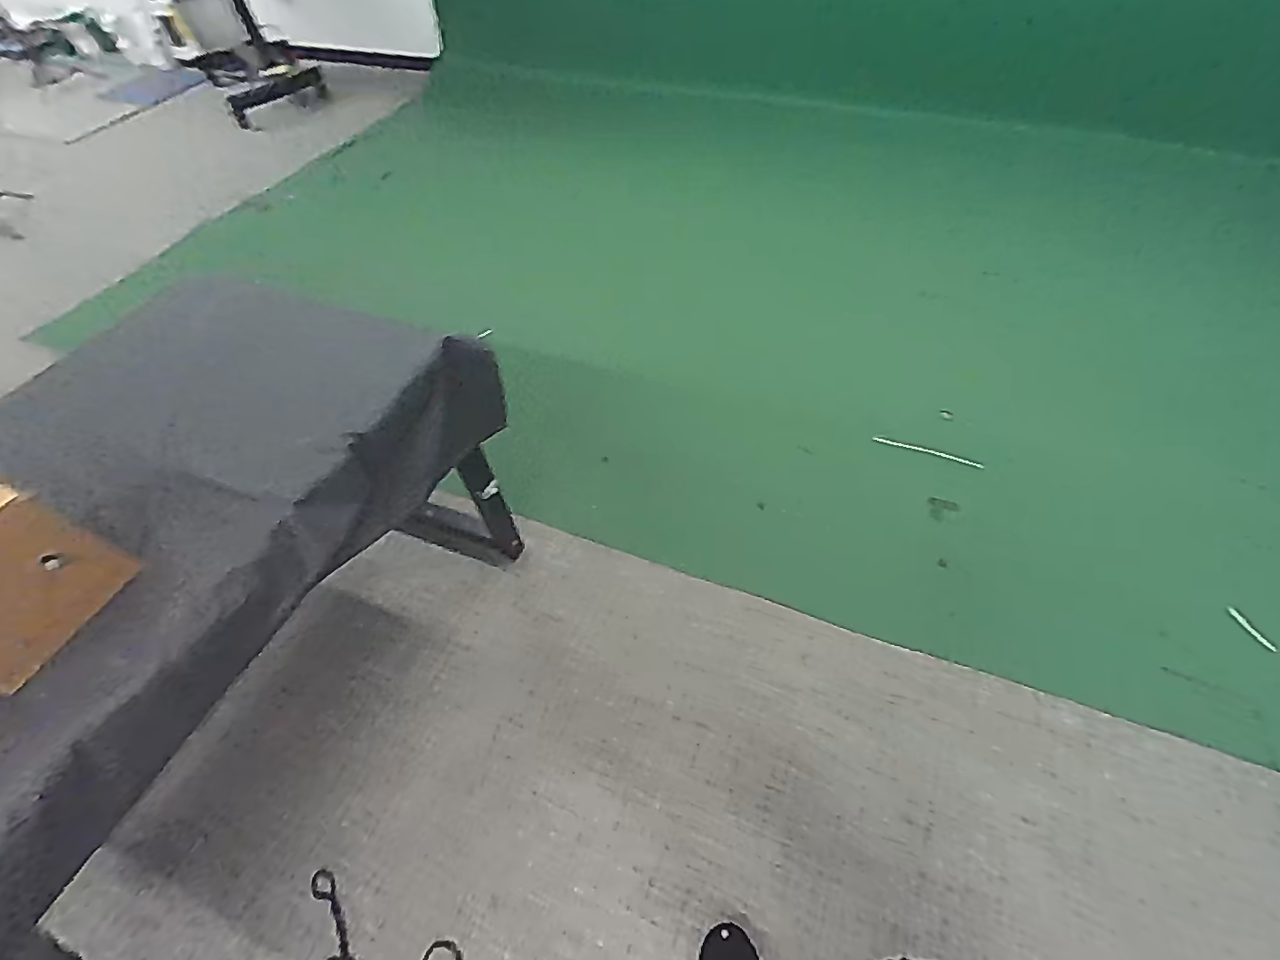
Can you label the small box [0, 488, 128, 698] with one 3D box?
[{"bbox_3d":[-0.746,0.115,0.608,0.168,0.176,0.179,15,57,16],"label":"small box"}]
